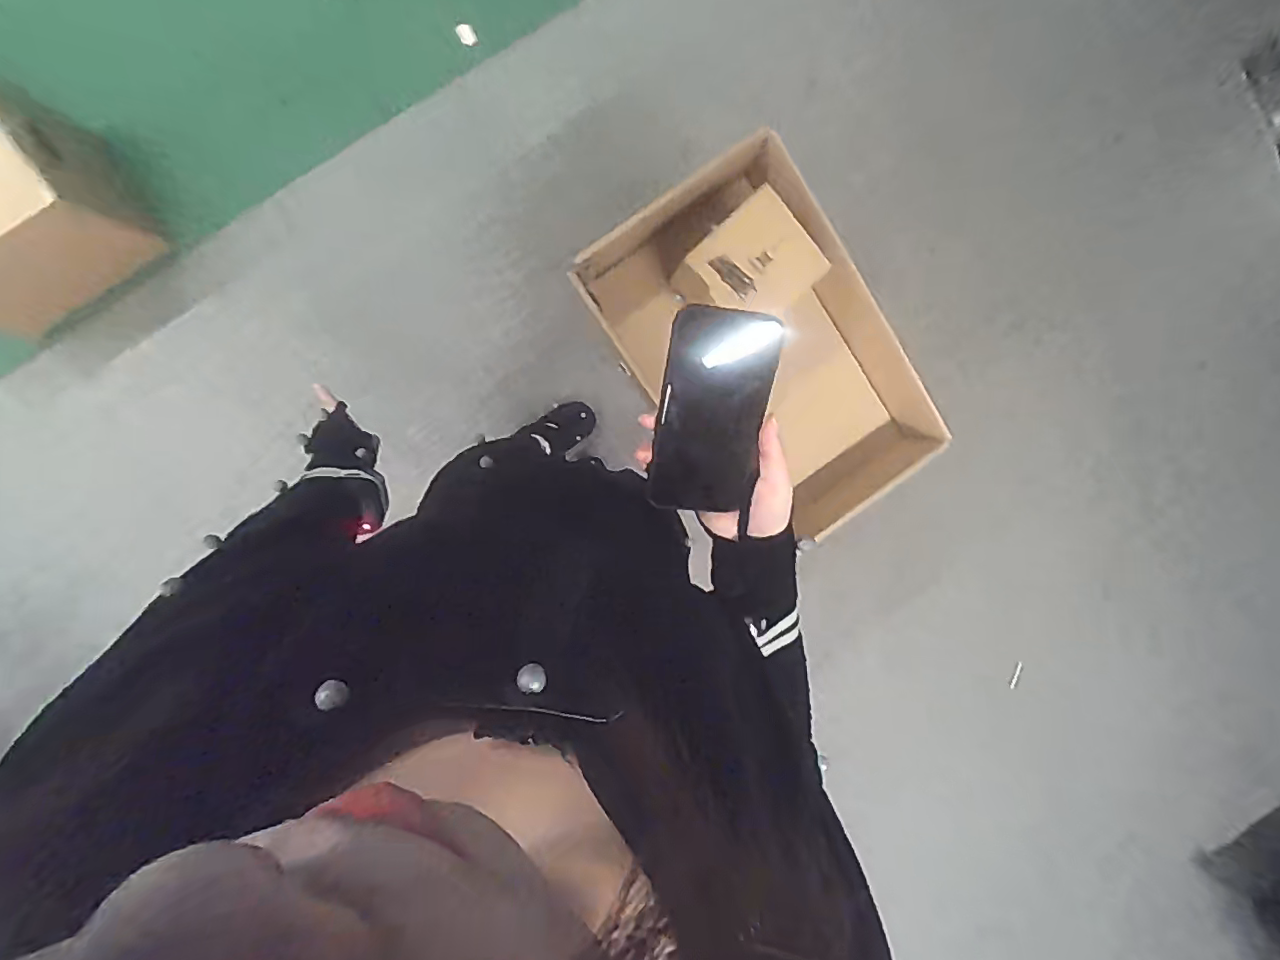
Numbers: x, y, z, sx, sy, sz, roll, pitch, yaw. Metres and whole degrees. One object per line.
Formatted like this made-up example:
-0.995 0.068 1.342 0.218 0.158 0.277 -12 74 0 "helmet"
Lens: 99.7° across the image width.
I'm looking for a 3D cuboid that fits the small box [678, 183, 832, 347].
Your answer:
0.180 -0.346 0.914 0.179 0.176 0.168 -42 99 -1 "small box"
